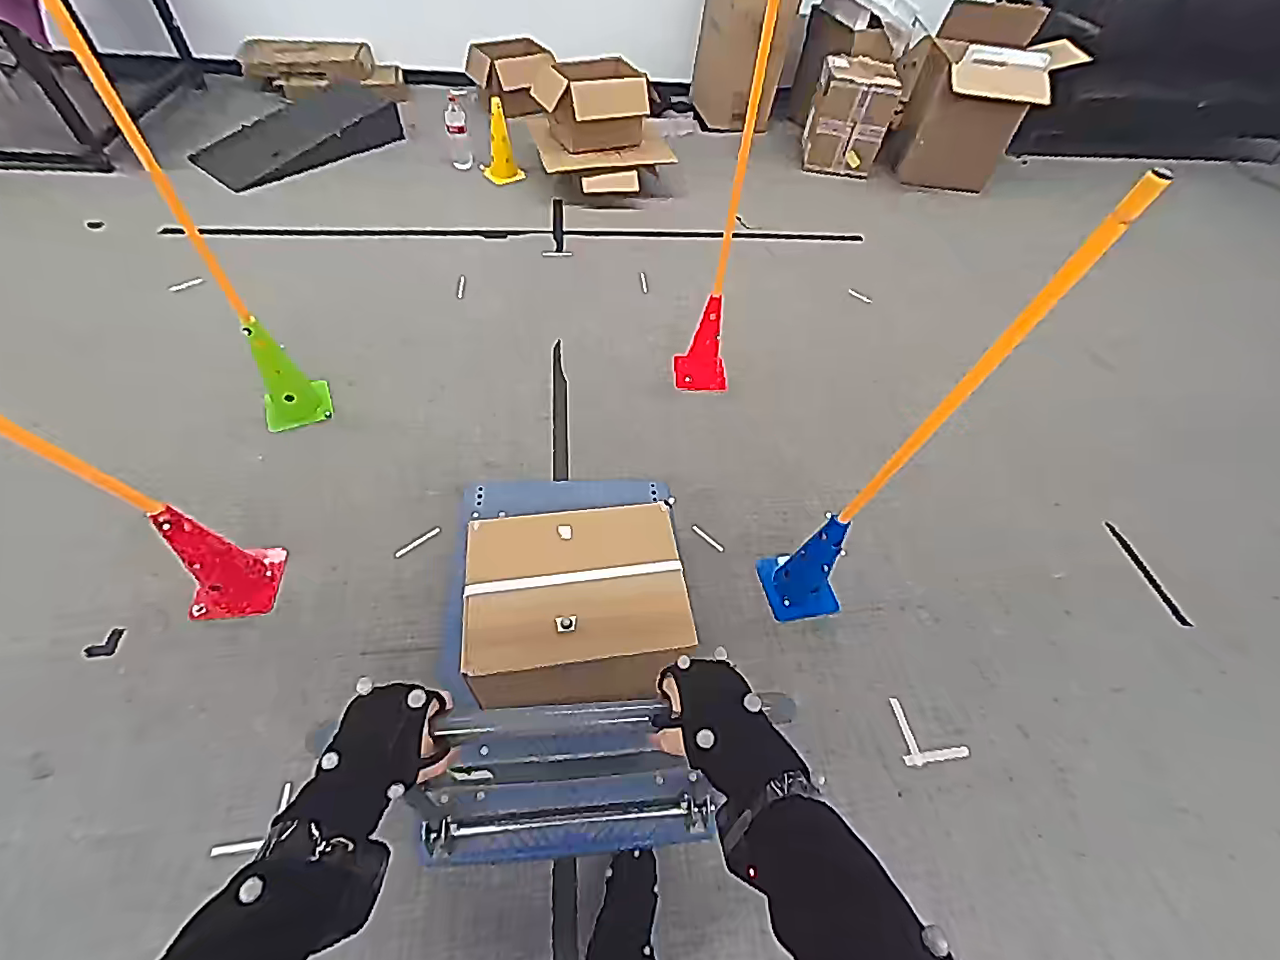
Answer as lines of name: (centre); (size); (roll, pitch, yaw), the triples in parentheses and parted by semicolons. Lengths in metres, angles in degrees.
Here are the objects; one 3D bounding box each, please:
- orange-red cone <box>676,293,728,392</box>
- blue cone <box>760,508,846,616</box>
orange-red cone: (0.254, -0.519, 1.967); (0.199, 0.360, 0.198); (3, 53, -4)
blue cone: (0.477, 0.204, 1.460); (0.193, 0.380, 0.192); (-6, 53, -10)
